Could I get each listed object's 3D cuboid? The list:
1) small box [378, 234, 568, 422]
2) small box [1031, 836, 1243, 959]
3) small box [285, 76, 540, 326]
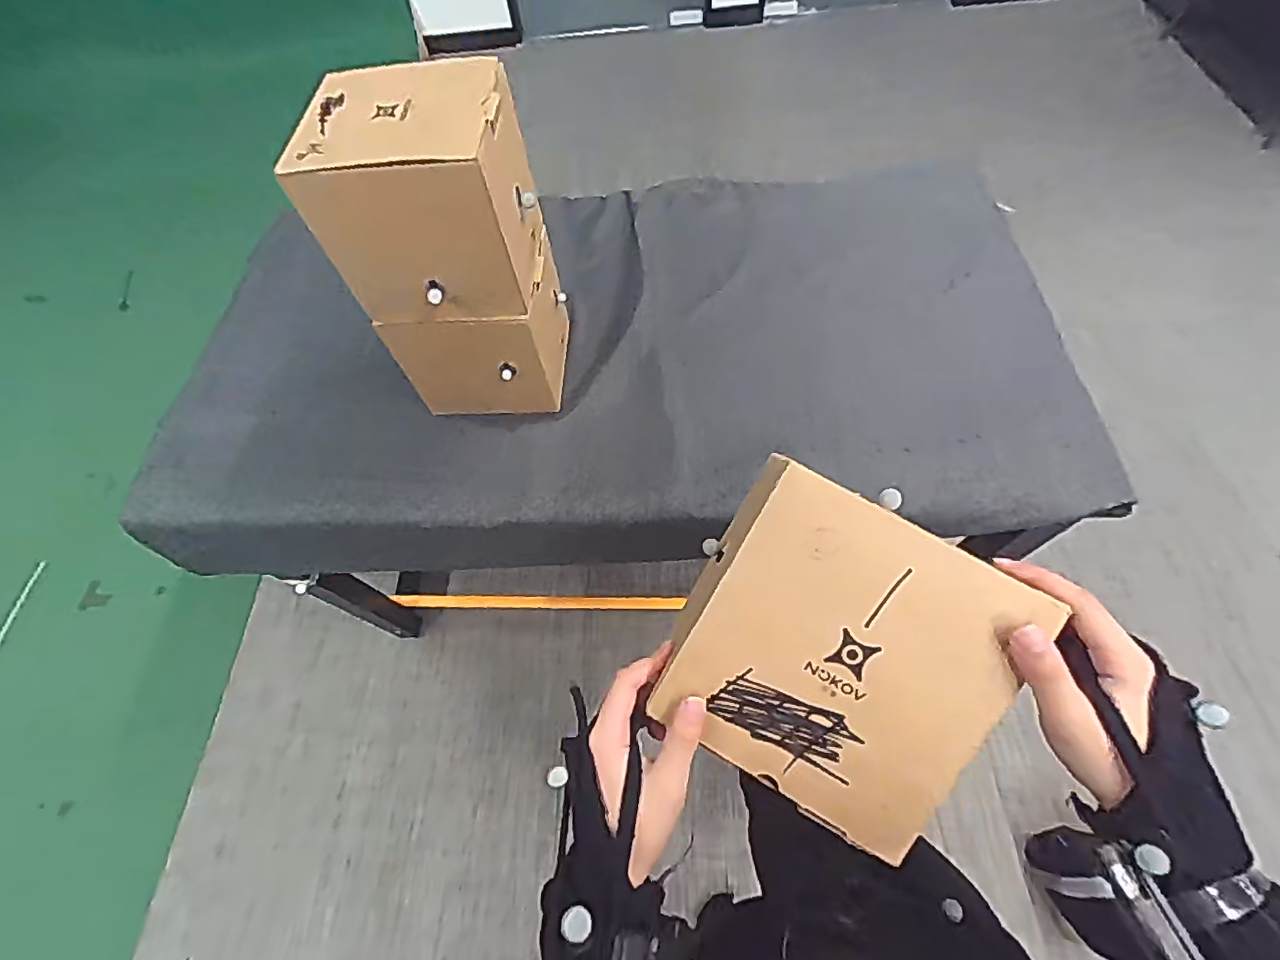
[{"bbox_3d":[-0.195,-0.188,0.695,0.179,0.176,0.168,-1,59,4],"label":"small box"},{"bbox_3d":[0.833,0.721,0.928,0.179,0.176,0.168,-7,59,0],"label":"small box"},{"bbox_3d":[-0.207,-0.277,0.557,0.179,0.176,0.168,-2,59,3],"label":"small box"}]
